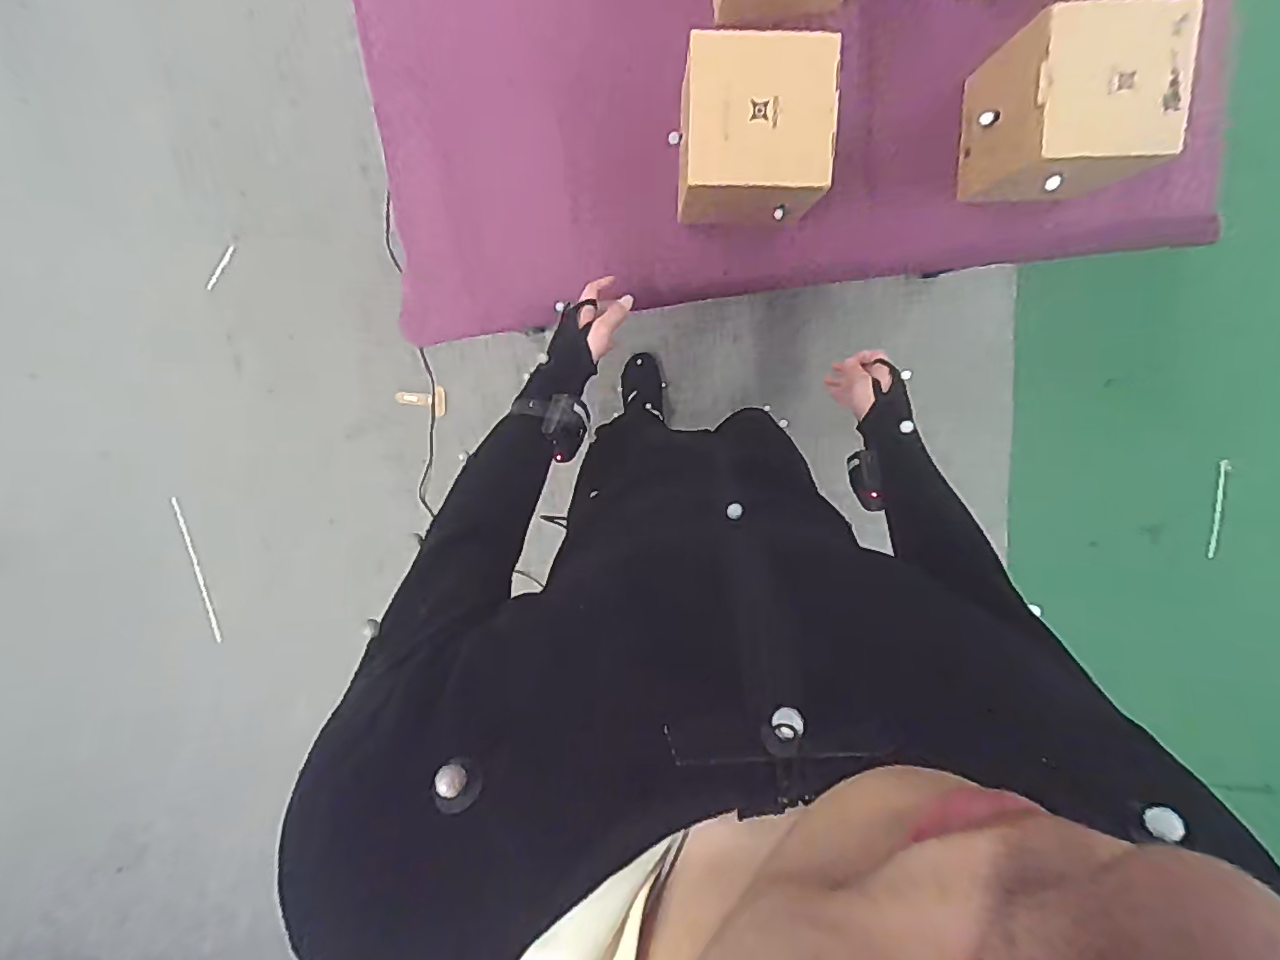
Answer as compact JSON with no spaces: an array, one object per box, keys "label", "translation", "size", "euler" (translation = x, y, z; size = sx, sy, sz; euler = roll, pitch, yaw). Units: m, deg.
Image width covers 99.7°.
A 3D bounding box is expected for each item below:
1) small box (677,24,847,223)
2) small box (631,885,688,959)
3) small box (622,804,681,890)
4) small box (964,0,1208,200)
[{"label":"small box","translation":[0.145,-0.446,0.704],"size":[0.179,0.176,0.168],"euler":[1,101,0]},{"label":"small box","translation":[0.064,1.527,1.855],"size":[0.179,0.176,0.168],"euler":[-7,102,1]},{"label":"small box","translation":[0.035,1.210,1.791],"size":[0.179,0.176,0.168],"euler":[-7,102,2]},{"label":"small box","translation":[0.554,-0.477,0.700],"size":[0.179,0.176,0.168],"euler":[-2,101,0]}]
